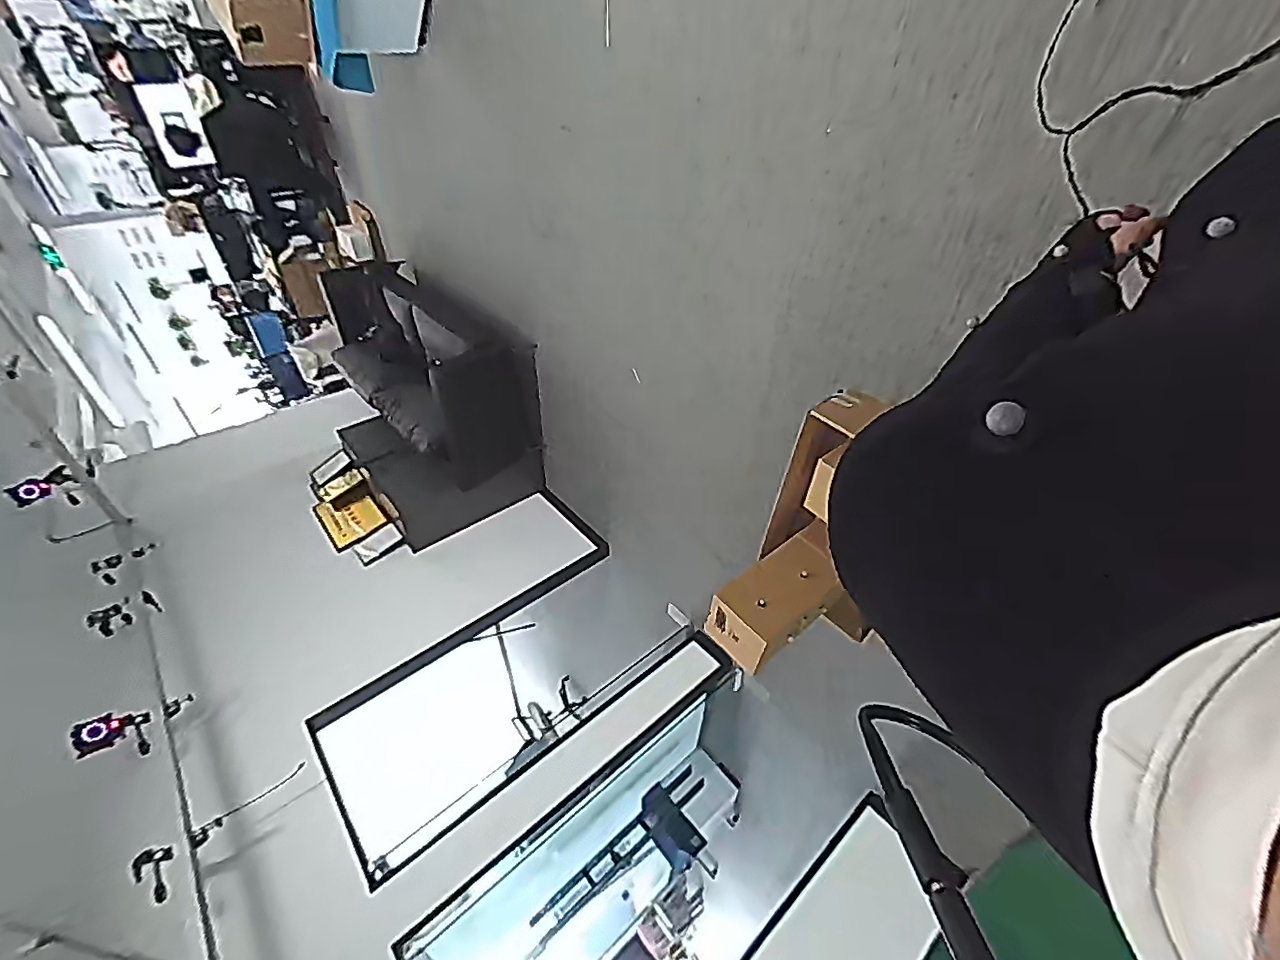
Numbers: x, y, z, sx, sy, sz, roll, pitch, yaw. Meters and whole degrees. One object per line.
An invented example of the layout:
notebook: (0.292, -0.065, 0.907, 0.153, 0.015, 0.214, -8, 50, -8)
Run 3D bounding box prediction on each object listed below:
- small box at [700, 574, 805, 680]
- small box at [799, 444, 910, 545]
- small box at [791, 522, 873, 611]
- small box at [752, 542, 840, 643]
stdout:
small box: (0.285, 0.365, 1.386, 0.179, 0.176, 0.168, 40, 141, 31)
small box: (0.543, 0.027, 1.375, 0.179, 0.176, 0.168, 38, 142, 33)
small box: (0.534, 0.234, 1.556, 0.179, 0.176, 0.168, 42, 143, 30)
small box: (0.410, 0.300, 1.472, 0.179, 0.176, 0.168, 40, 141, 30)
